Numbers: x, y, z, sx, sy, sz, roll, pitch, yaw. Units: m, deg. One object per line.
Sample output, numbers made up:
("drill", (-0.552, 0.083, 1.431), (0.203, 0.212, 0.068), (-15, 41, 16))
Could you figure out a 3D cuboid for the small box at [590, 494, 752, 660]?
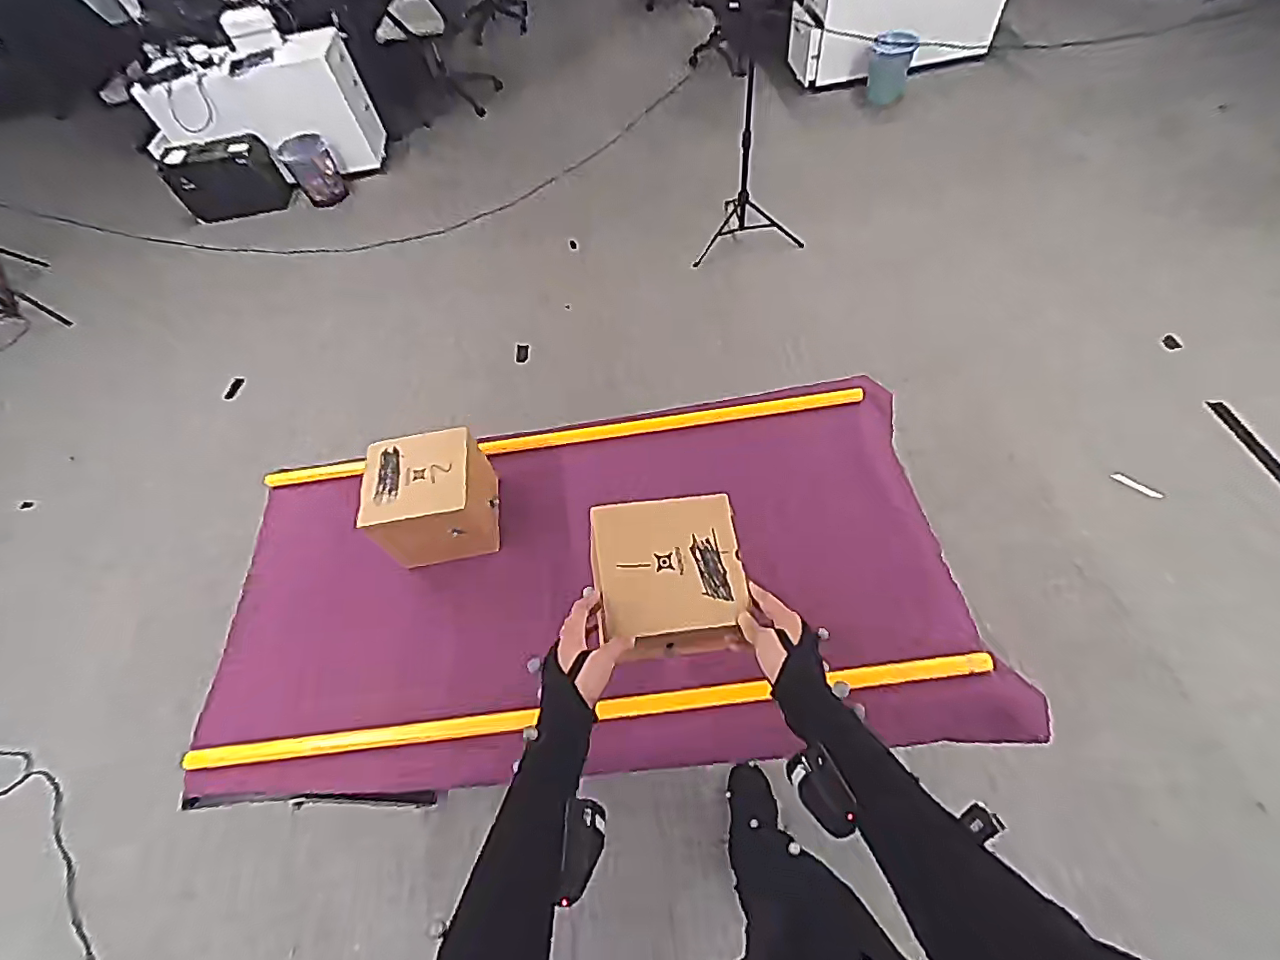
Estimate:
("small box", (0.027, 0.132, 0.707), (0.179, 0.176, 0.168), (-5, 63, -7))
